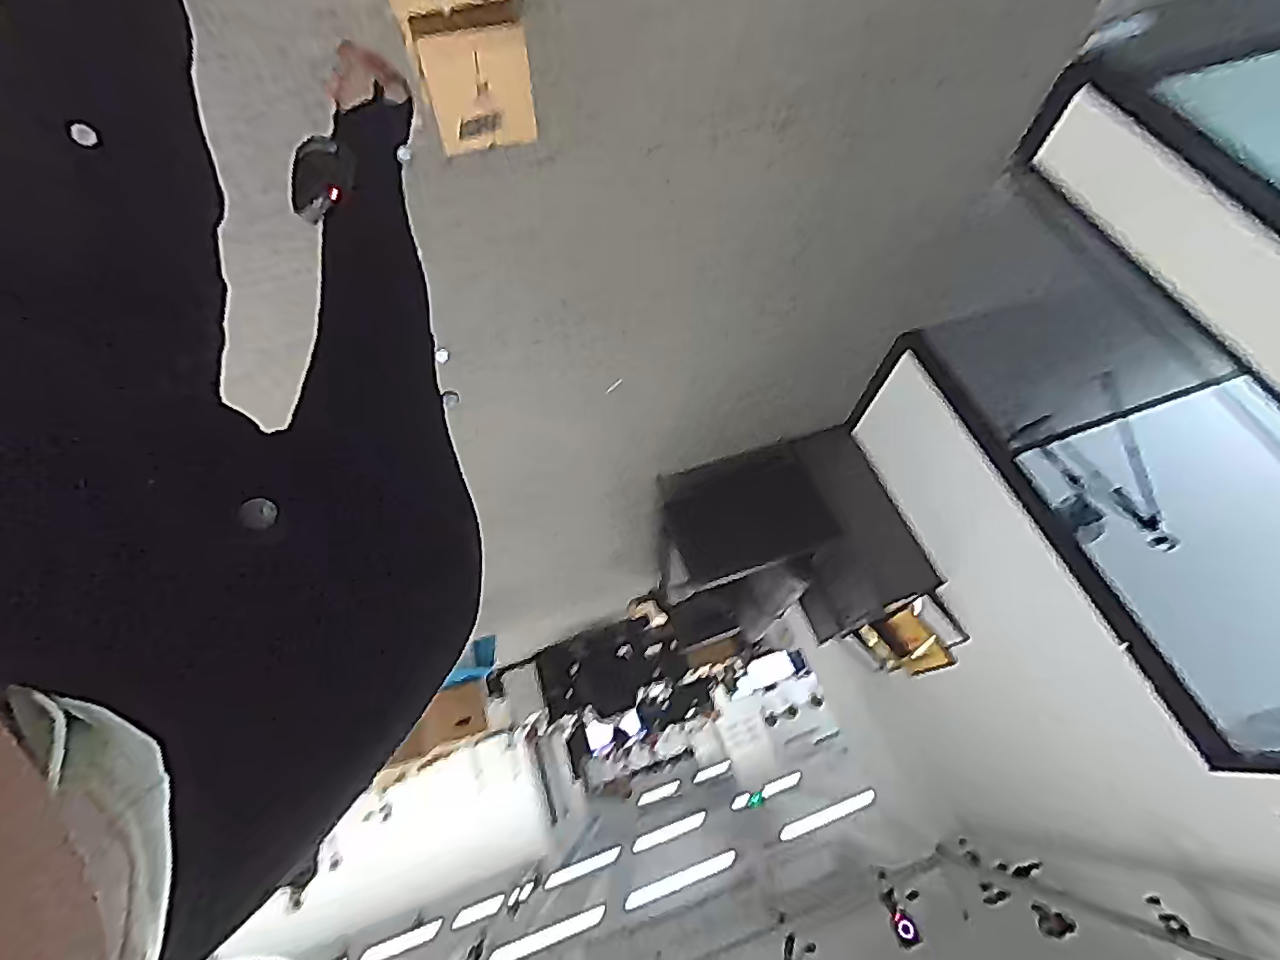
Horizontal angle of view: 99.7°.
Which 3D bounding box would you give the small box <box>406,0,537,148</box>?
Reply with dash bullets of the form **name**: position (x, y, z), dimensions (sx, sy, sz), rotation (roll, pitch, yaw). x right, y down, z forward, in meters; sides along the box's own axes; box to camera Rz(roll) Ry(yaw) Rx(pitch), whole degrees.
- **small box**: position (-0.281, -0.704, 0.911), dimensions (0.168, 0.176, 0.179), rotation (-17, 154, -11)
